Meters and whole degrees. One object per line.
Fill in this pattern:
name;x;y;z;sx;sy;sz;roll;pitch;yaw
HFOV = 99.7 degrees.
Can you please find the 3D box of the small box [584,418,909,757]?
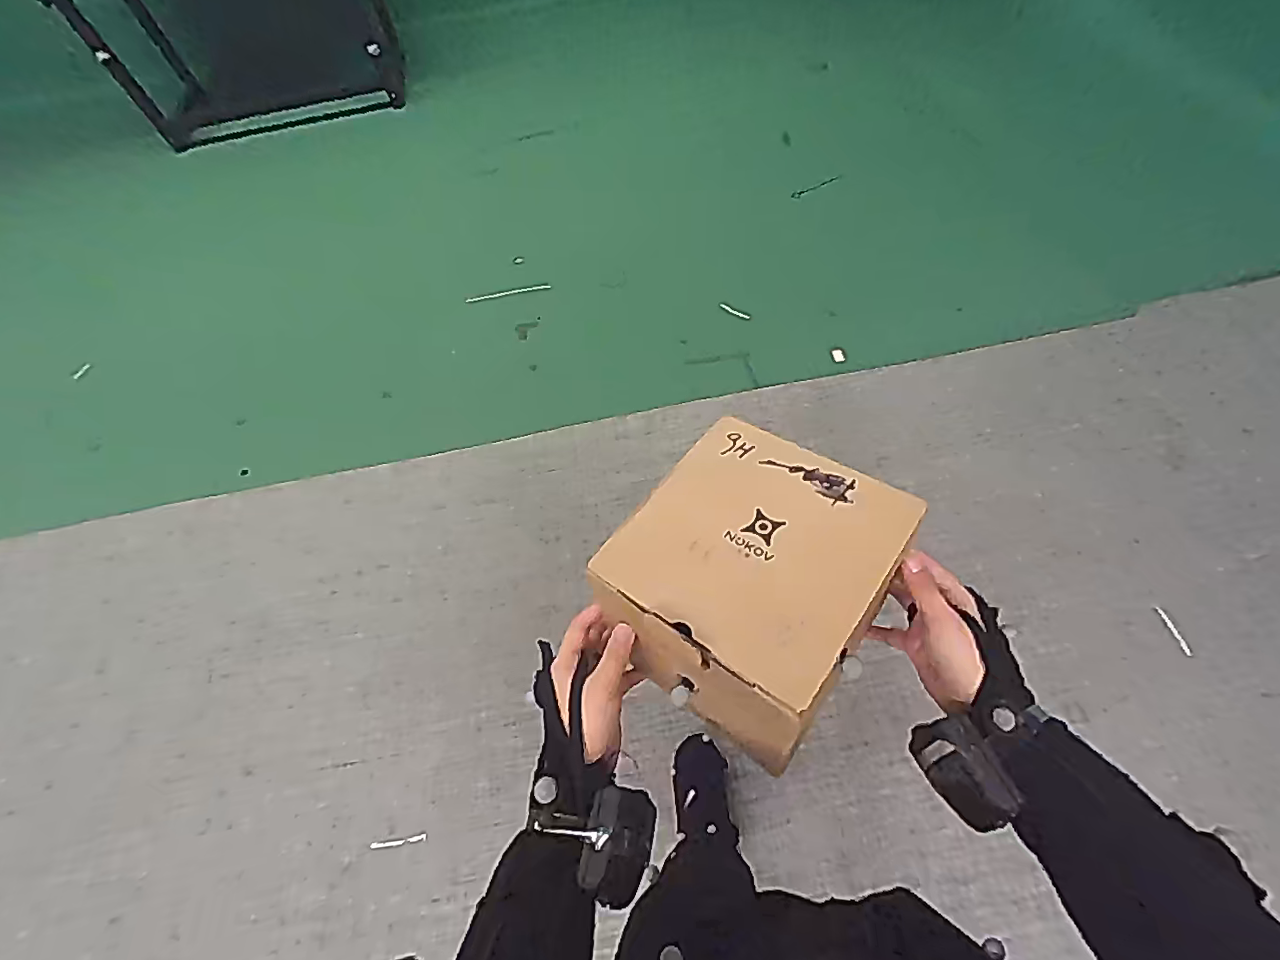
small box;0.086;0.088;0.438;0.168;0.176;0.179;29;62;29
